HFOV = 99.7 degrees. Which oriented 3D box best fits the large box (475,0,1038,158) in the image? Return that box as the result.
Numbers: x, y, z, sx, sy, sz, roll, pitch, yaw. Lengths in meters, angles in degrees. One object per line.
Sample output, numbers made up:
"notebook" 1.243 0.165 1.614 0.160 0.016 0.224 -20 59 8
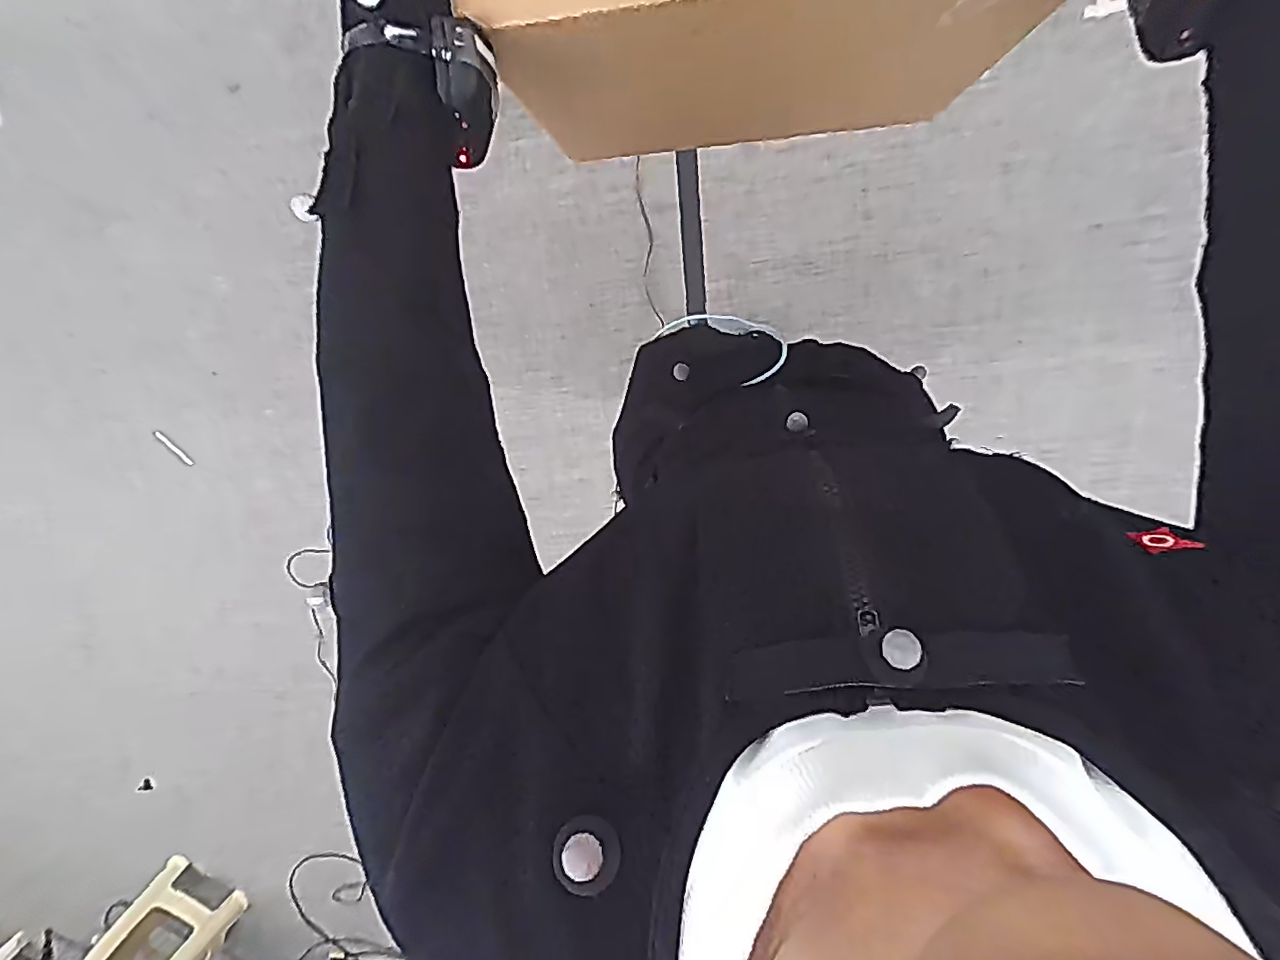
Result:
"large box" 0.088 -0.493 0.429 0.408 0.320 0.320 -3 107 7
